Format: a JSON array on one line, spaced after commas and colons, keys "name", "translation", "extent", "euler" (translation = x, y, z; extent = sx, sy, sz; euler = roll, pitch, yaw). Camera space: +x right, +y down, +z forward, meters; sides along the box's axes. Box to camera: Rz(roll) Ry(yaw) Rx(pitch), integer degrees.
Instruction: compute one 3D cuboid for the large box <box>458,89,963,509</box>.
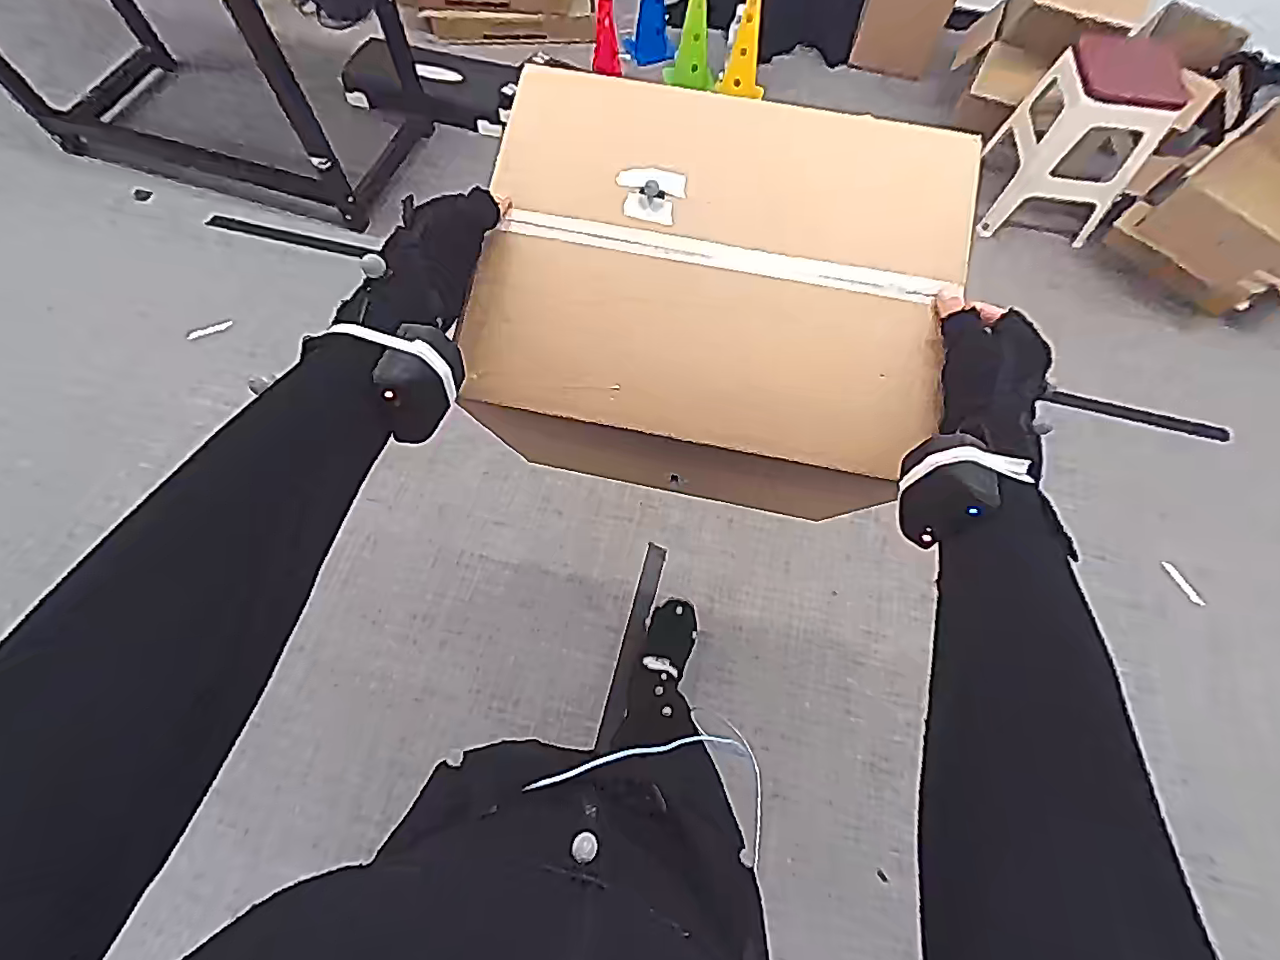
[{"name": "large box", "translation": [0.073, -0.162, 0.619], "extent": [0.408, 0.320, 0.320], "euler": [12, 81, 4]}]
